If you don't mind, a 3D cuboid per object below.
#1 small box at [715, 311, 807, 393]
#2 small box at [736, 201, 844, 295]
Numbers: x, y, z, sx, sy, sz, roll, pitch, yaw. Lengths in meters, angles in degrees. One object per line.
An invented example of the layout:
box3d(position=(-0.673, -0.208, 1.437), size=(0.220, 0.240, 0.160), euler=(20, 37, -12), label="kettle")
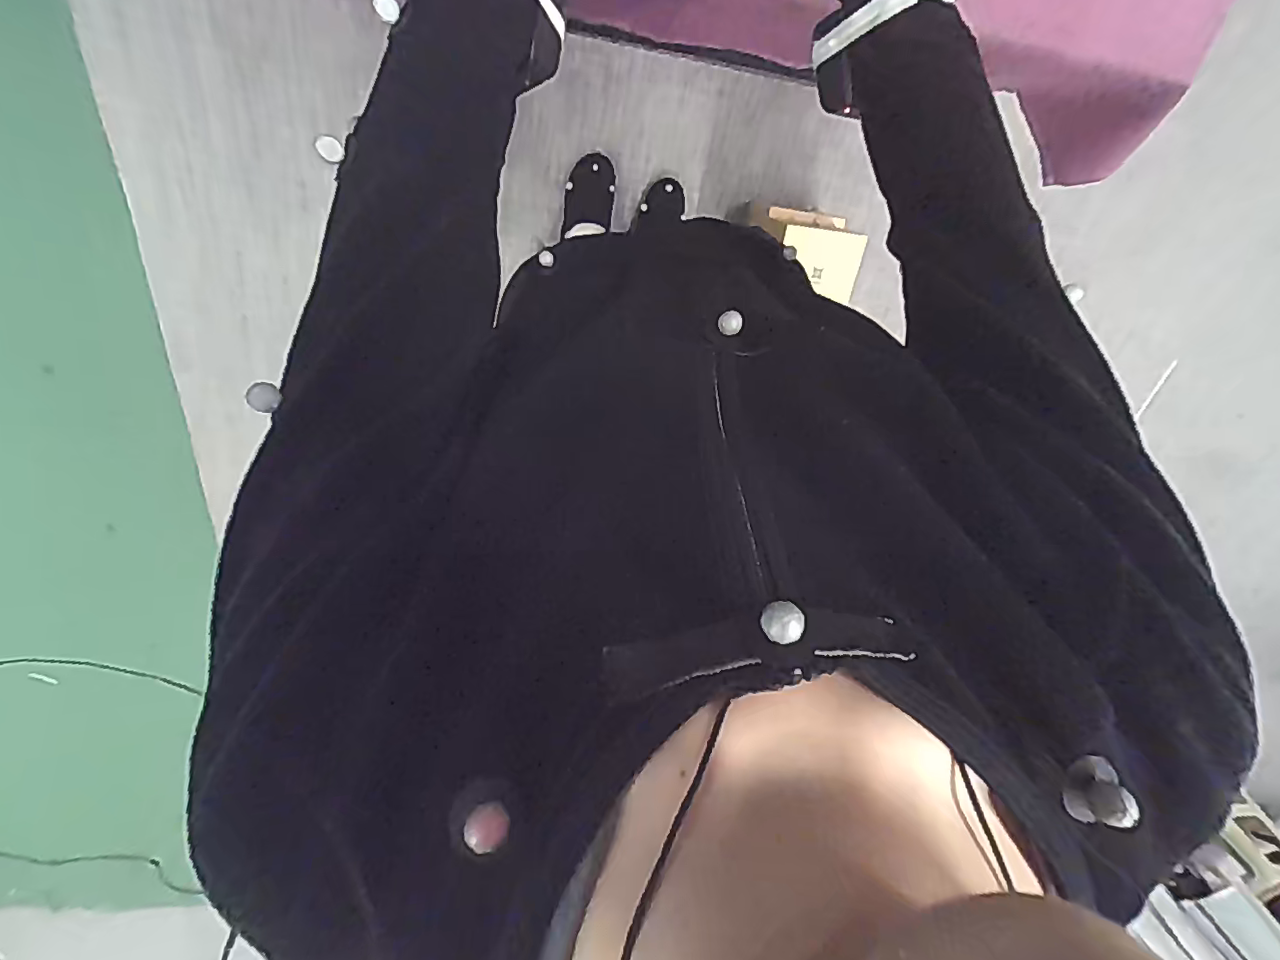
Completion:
box3d(position=(0.301, -0.333, 1.391), size=(0.179, 0.176, 0.168), euler=(1, 120, -7), label="small box")
box3d(position=(0.340, -0.546, 1.264), size=(0.179, 0.176, 0.168), euler=(6, 121, -7), label="small box")
